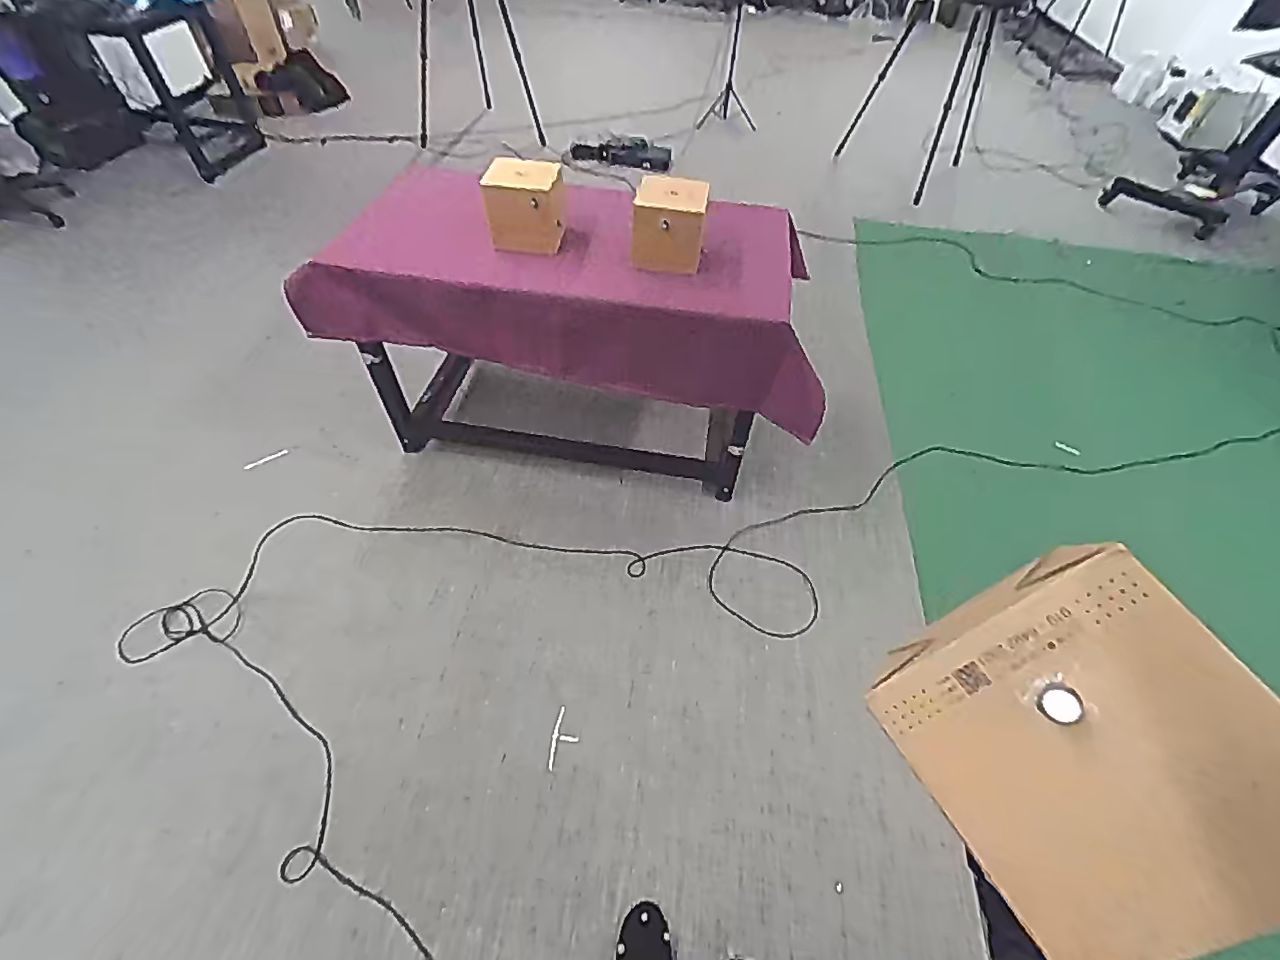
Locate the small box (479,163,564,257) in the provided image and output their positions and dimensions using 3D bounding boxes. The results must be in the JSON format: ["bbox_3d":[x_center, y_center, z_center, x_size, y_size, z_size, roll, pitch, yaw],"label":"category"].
[{"bbox_3d":[-0.305,-0.710,1.427,0.179,0.176,0.168,6,51,1],"label":"small box"}]

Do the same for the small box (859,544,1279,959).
[{"bbox_3d":[0.273,0.156,0.357,0.168,0.179,0.176,-42,65,17],"label":"small box"}]

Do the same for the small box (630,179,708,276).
[{"bbox_3d":[0.072,-0.645,1.389,0.179,0.176,0.168,9,52,4],"label":"small box"}]
